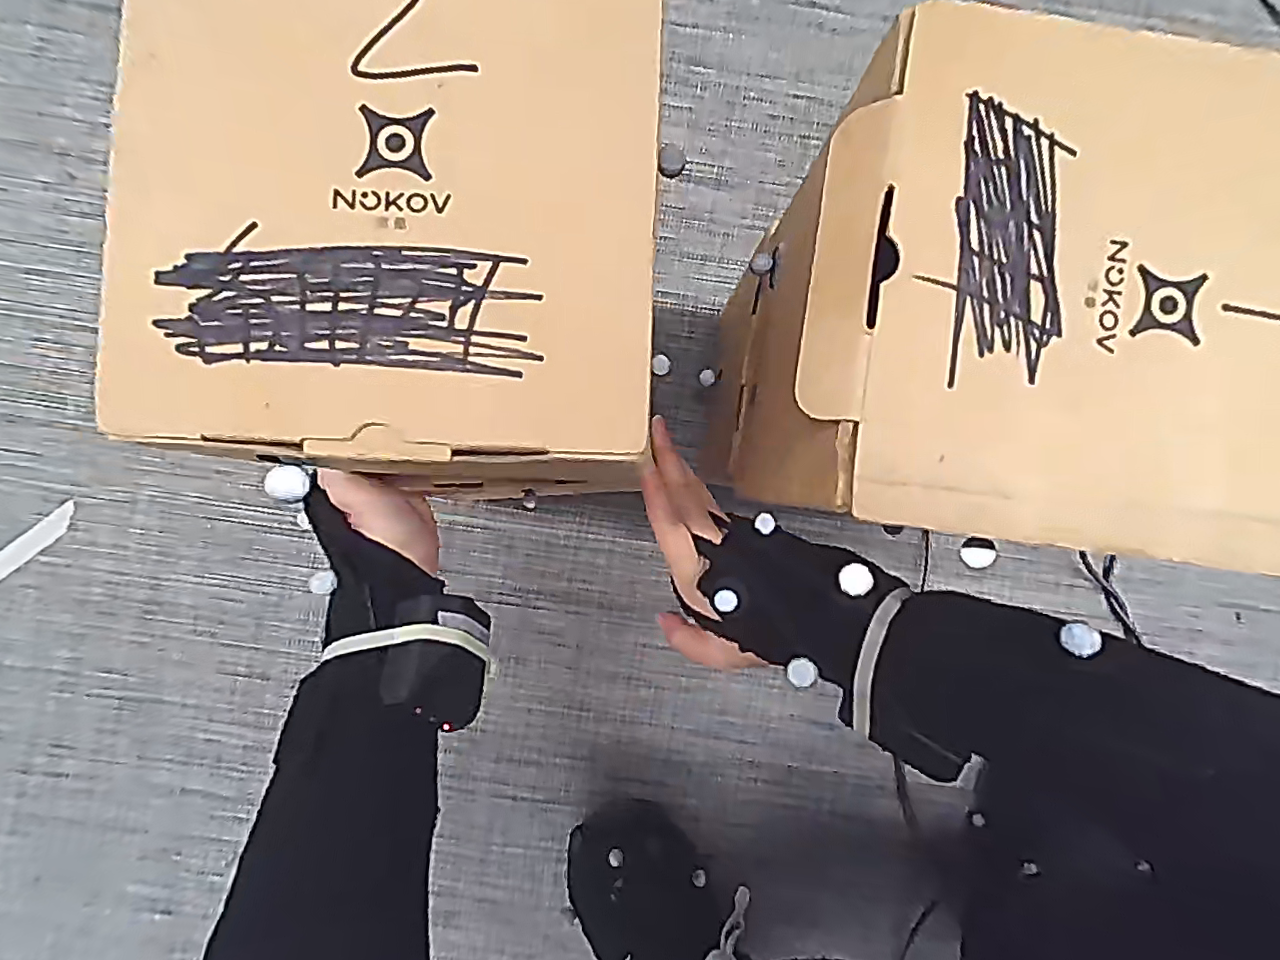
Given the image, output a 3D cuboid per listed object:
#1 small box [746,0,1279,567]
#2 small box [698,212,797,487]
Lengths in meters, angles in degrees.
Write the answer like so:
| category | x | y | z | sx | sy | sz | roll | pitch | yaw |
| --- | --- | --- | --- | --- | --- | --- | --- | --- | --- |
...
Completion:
| category | x | y | z | sx | sy | sz | roll | pitch | yaw |
| --- | --- | --- | --- | --- | --- | --- | --- | --- | --- |
| small box | 0.156 | -0.061 | 0.245 | 0.179 | 0.176 | 0.168 | 8 | 90 | -2 |
| small box | 0.151 | -0.068 | 0.409 | 0.179 | 0.176 | 0.168 | 10 | 89 | -1 |
